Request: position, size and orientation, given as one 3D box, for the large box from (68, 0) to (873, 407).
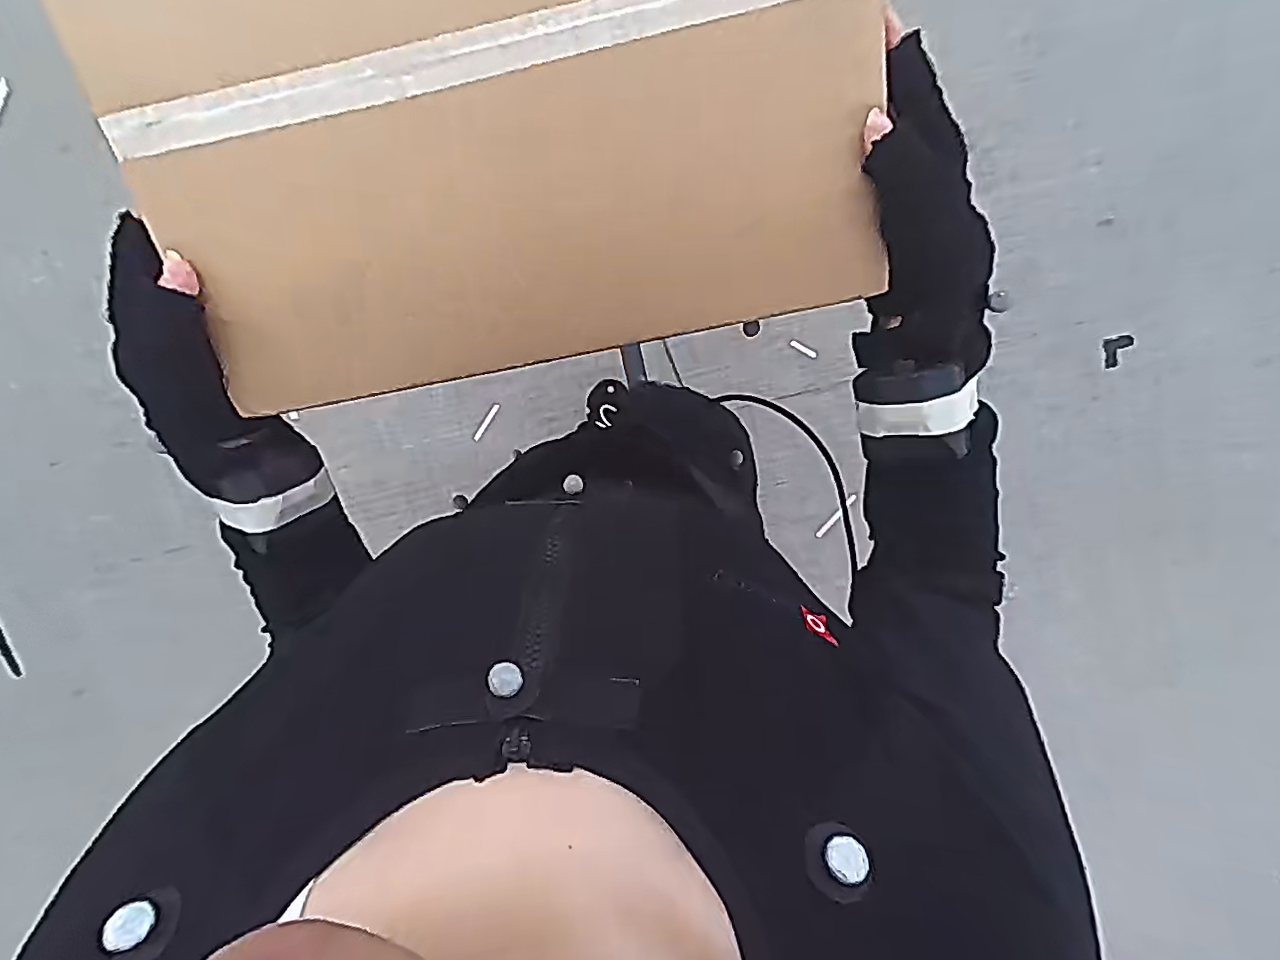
[{"bbox_3d":[-0.082,-0.278,0.422,0.408,0.320,0.320,-10,110,4],"label":"large box"}]
